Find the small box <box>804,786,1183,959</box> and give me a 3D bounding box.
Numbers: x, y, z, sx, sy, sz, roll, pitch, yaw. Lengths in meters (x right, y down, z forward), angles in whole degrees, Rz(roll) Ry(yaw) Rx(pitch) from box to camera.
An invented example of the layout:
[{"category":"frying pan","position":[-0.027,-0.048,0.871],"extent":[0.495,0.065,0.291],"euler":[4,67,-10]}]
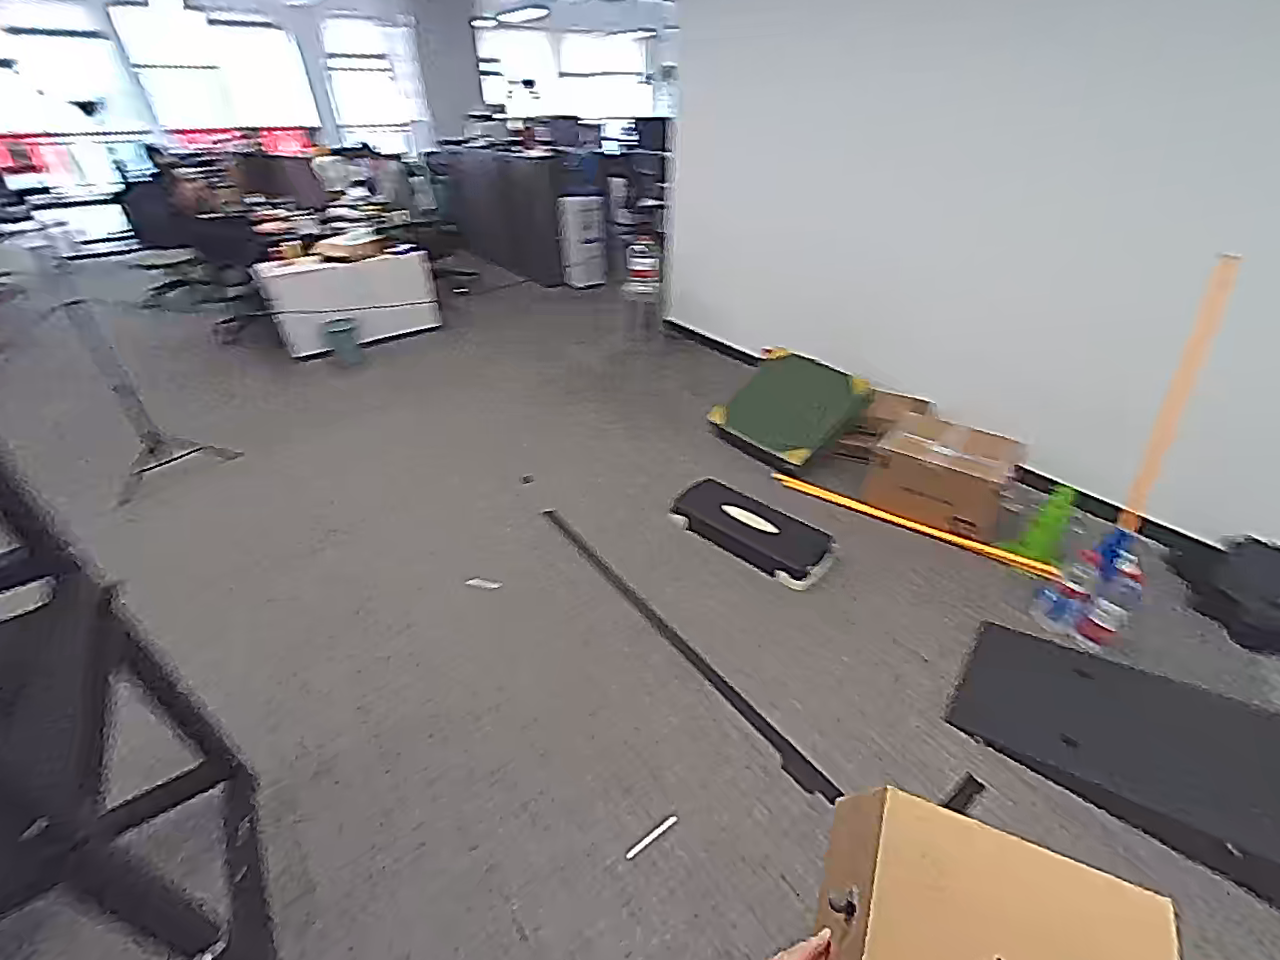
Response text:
[{"category":"small box","position":[0.212,0.336,0.362],"extent":[0.168,0.176,0.179],"euler":[16,60,16]}]
